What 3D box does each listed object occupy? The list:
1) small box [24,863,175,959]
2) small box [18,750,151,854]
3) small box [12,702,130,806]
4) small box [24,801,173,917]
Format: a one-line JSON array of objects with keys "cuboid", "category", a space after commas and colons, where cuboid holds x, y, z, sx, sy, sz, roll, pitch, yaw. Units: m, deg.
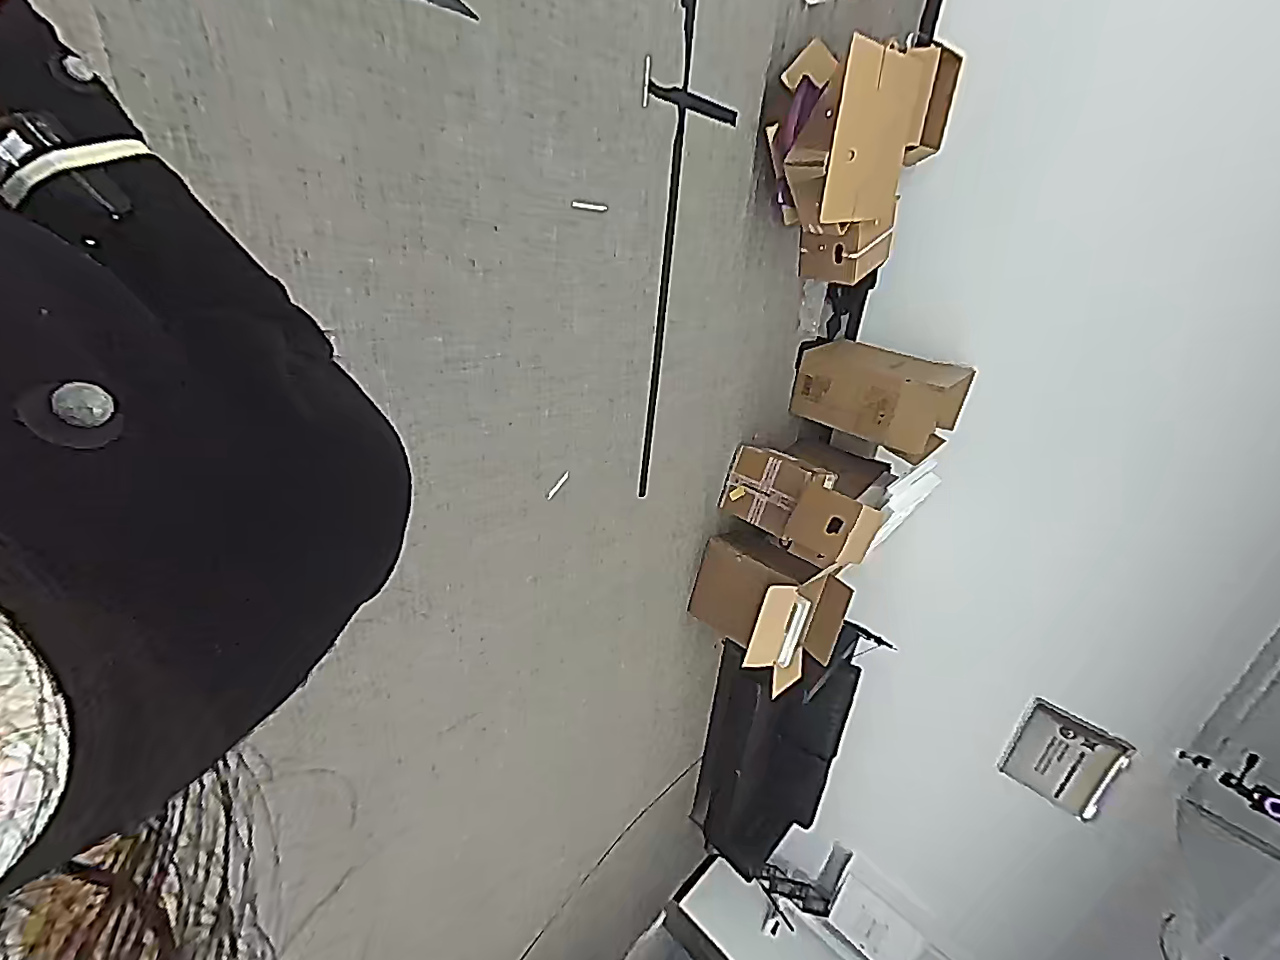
[{"cuboid": [-0.934, 0.832, 0.944, 0.168, 0.176, 0.179, -14, 119, -49], "category": "small box"}, {"cuboid": [-1.166, 0.714, 1.141, 0.179, 0.176, 0.168, -9, 116, -49], "category": "small box"}, {"cuboid": [-1.286, 0.650, 1.233, 0.179, 0.176, 0.168, -13, 120, -48], "category": "small box"}, {"cuboid": [-1.048, 0.777, 1.050, 0.179, 0.176, 0.168, -12, 118, -47], "category": "small box"}]
